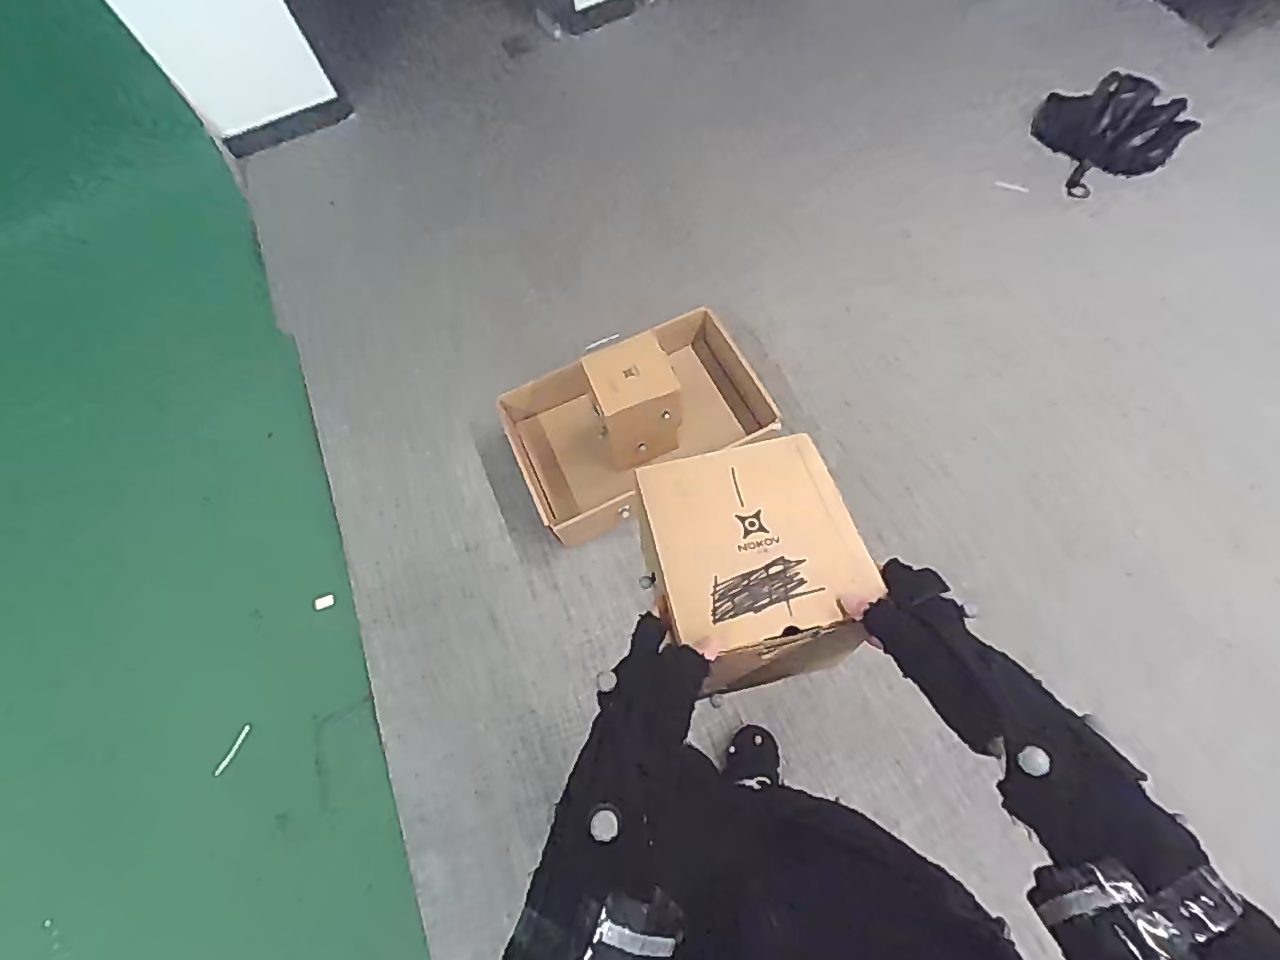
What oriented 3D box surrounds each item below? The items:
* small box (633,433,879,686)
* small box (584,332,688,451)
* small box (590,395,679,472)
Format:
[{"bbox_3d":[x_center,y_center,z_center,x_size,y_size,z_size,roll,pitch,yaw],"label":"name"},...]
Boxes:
[{"bbox_3d":[0.094,0.086,0.521,0.168,0.176,0.179,-12,57,-5],"label":"small box"},{"bbox_3d":[-0.007,-0.194,1.214,0.179,0.176,0.168,-25,68,-6],"label":"small box"},{"bbox_3d":[-0.007,-0.147,1.392,0.179,0.176,0.168,-26,67,-6],"label":"small box"}]
